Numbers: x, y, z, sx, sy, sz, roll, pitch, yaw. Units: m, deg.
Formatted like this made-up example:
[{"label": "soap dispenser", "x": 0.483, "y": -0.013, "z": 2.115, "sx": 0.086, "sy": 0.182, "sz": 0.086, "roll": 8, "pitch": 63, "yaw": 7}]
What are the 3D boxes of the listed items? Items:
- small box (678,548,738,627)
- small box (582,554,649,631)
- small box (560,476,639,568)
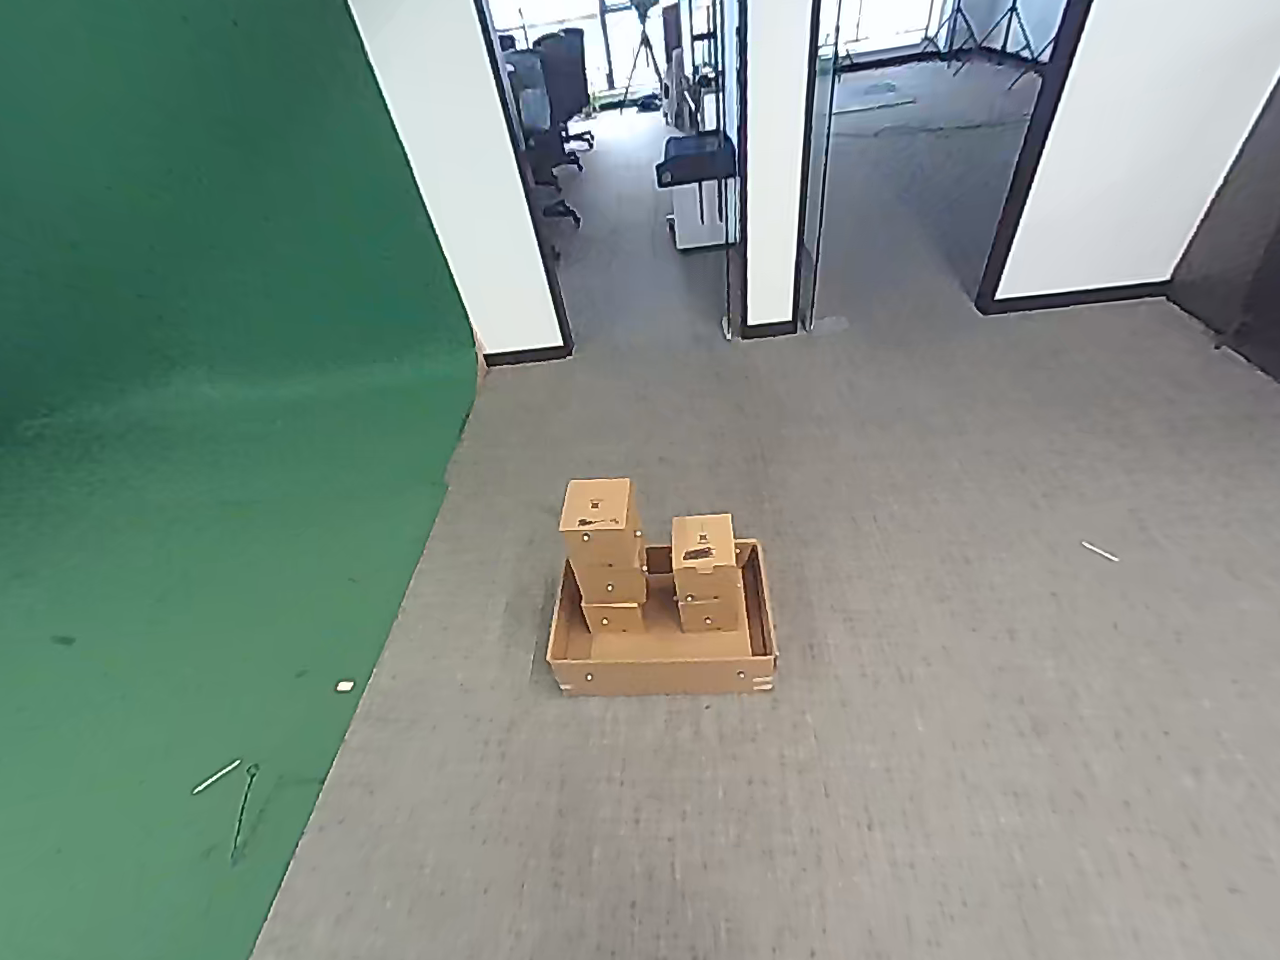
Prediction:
[{"label": "small box", "x": 0.203, "y": 0.326, "z": 1.613, "sx": 0.168, "sy": 0.176, "sz": 0.179, "roll": -5, "pitch": 45, "yaw": 7}, {"label": "small box", "x": -0.068, "y": 0.345, "z": 1.647, "sx": 0.168, "sy": 0.176, "sz": 0.179, "roll": -1, "pitch": 45, "yaw": 9}, {"label": "small box", "x": -0.098, "y": 0.111, "z": 1.419, "sx": 0.168, "sy": 0.176, "sz": 0.179, "roll": -3, "pitch": 44, "yaw": 8}]
